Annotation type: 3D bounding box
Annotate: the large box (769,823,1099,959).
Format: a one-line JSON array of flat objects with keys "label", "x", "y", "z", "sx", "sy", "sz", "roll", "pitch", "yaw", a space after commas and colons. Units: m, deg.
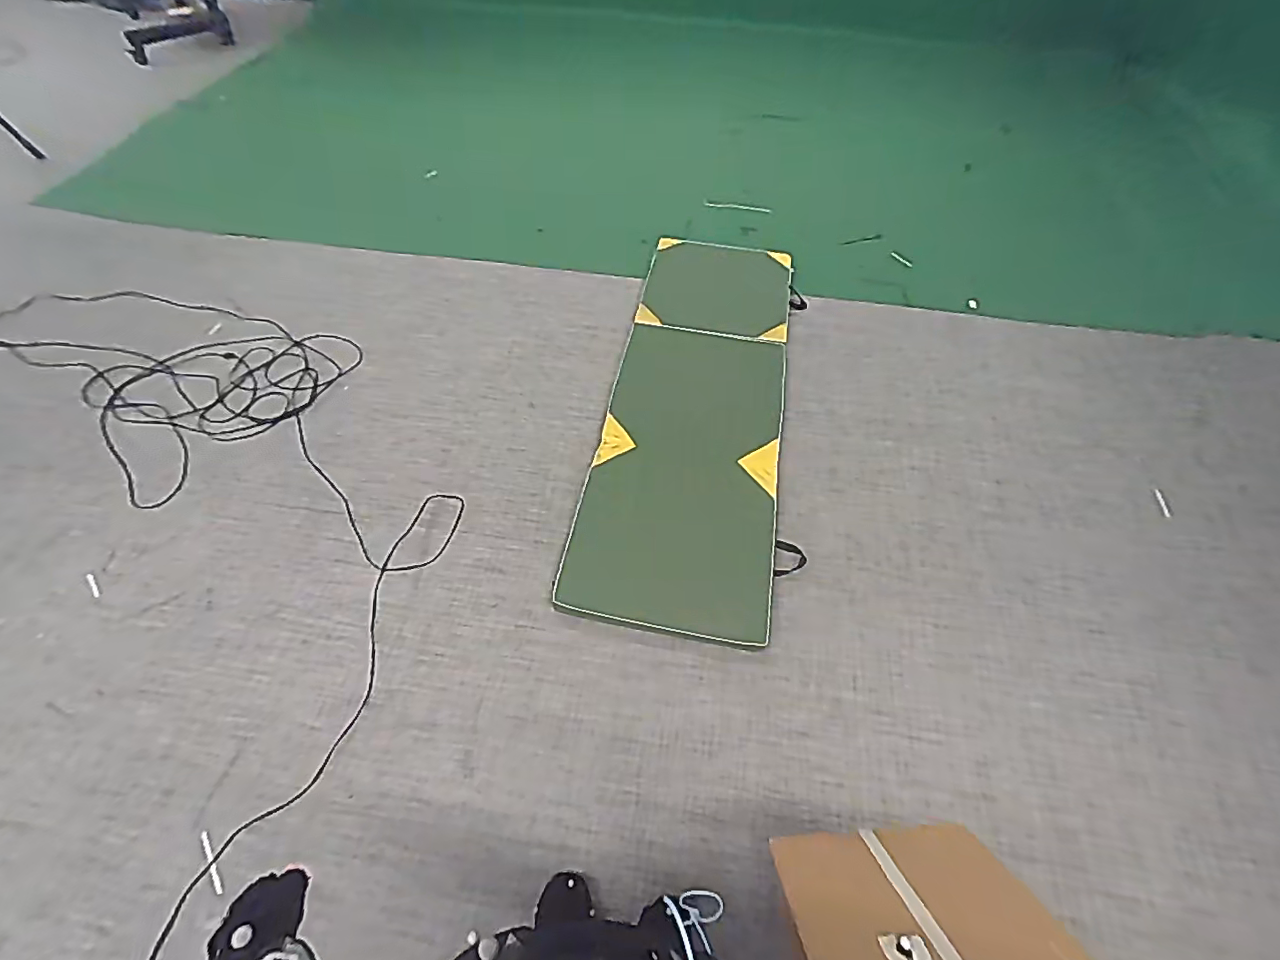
[{"label": "large box", "x": 0.369, "y": 0.699, "z": 0.672, "sx": 0.320, "sy": 0.408, "sz": 0.320, "roll": -6, "pitch": 84, "yaw": 2}]
